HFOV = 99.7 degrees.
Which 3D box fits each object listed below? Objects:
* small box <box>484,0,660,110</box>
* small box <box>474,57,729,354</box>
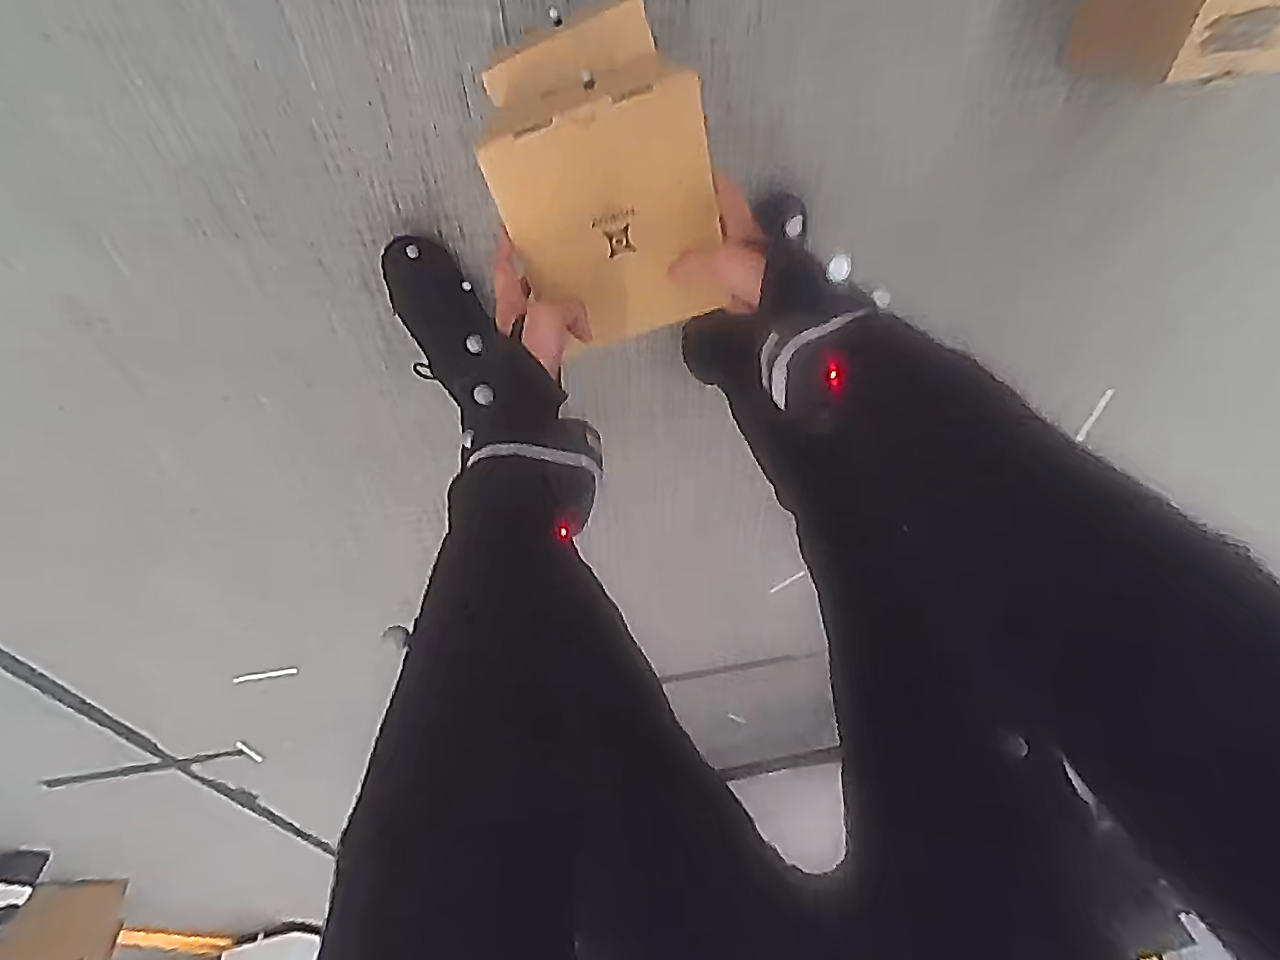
[{"bbox_3d":[-0.060,-0.404,0.612,0.168,0.176,0.179,-21,134,7],"label":"small box"},{"bbox_3d":[-0.029,-0.249,0.489,0.168,0.176,0.179,-17,131,4],"label":"small box"}]
